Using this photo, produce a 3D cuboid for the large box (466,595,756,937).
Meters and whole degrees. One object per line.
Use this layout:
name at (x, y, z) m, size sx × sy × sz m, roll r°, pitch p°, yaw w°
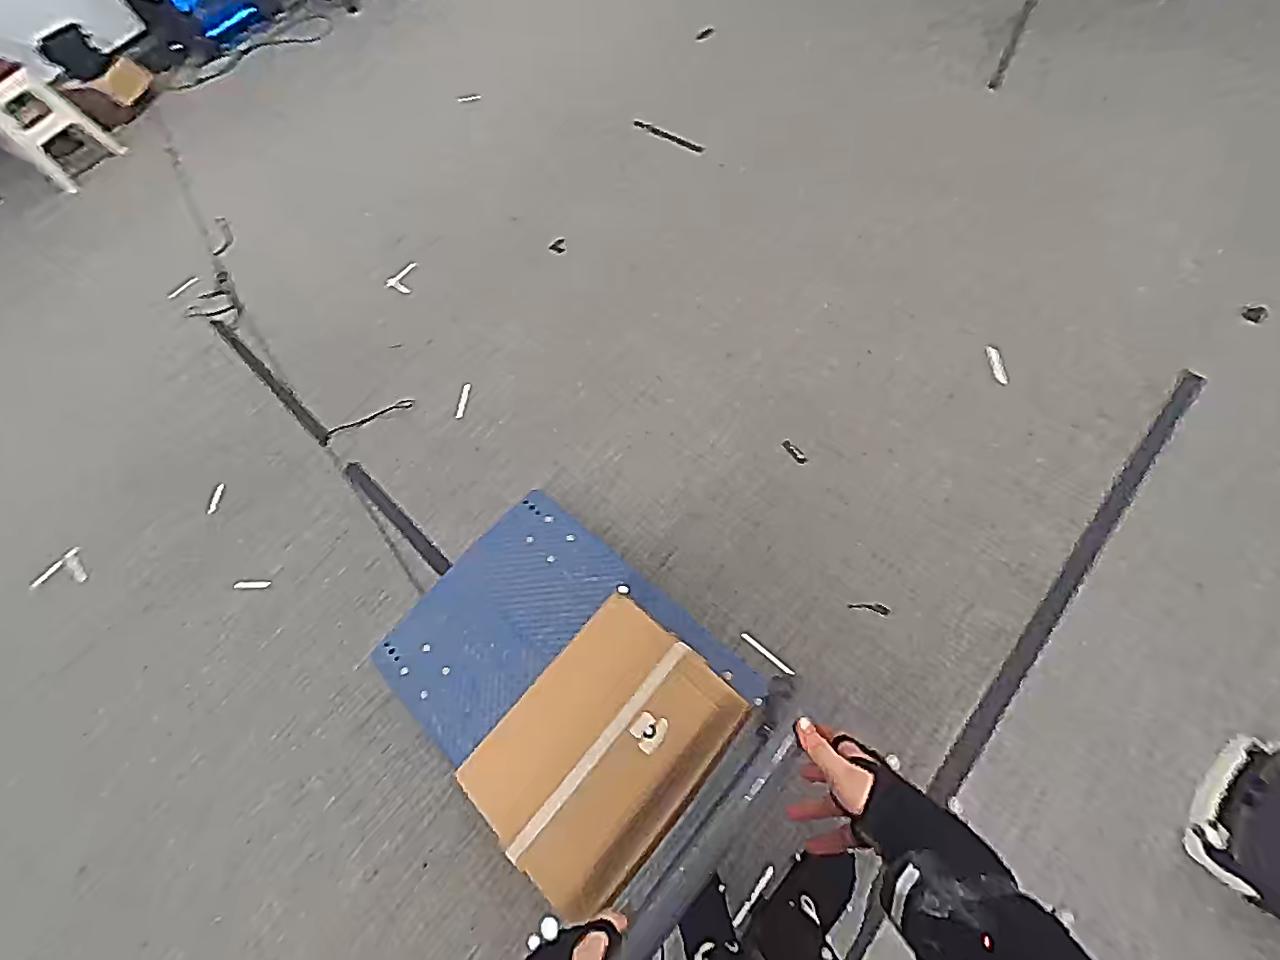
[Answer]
large box at (-0.027, 0.498, 1.004) m, size 0.320 × 0.320 × 0.408 m, roll 37°, pitch 75°, yaw 24°
